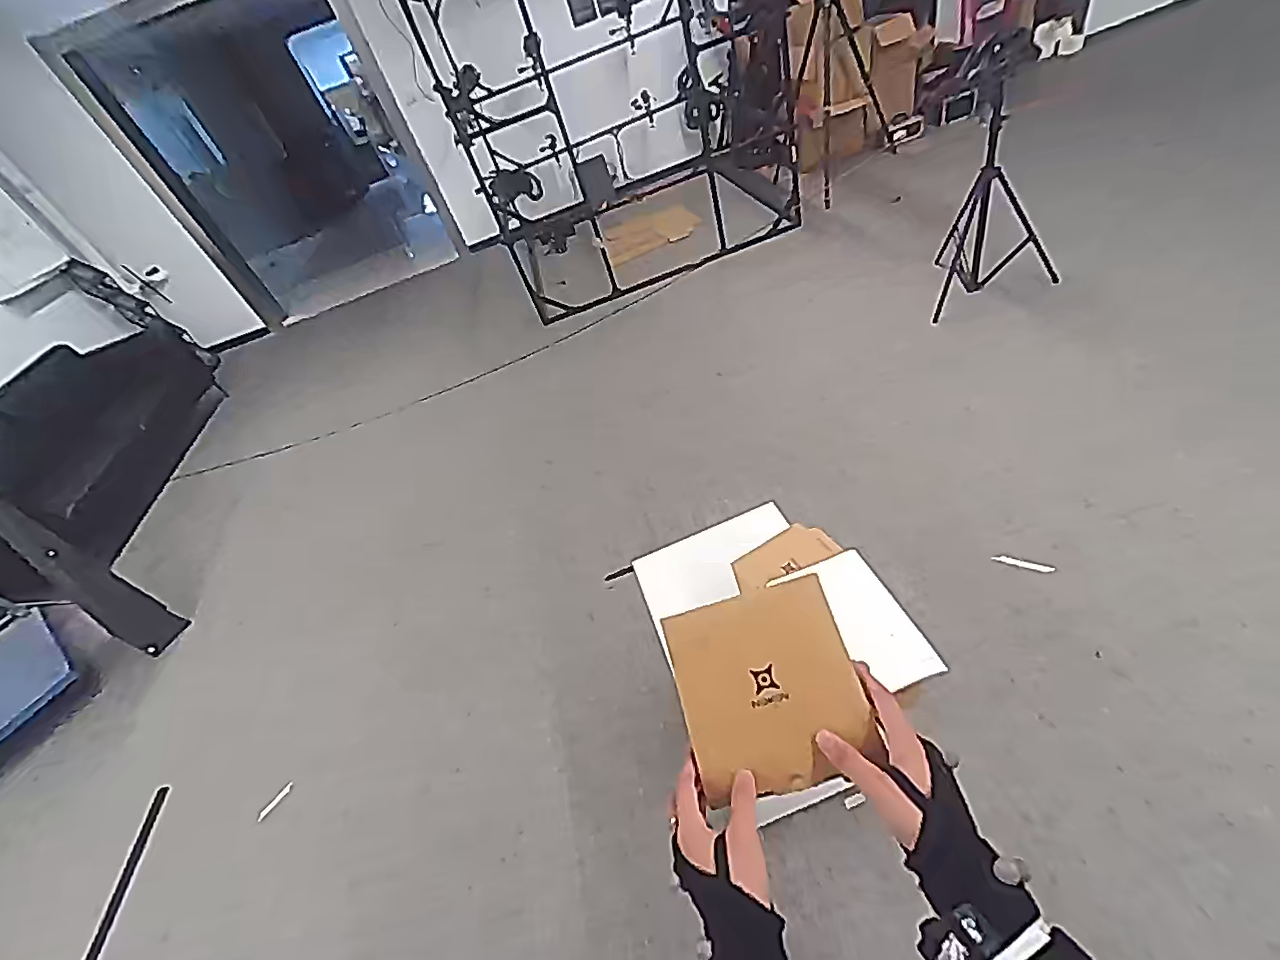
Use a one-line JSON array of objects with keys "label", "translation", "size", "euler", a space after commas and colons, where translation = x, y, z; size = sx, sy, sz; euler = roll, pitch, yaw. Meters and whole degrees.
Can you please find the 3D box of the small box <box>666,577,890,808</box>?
[{"label": "small box", "translation": [0.138, 0.225, 0.582], "size": [0.168, 0.176, 0.179], "euler": [-19, 66, 7]}]
